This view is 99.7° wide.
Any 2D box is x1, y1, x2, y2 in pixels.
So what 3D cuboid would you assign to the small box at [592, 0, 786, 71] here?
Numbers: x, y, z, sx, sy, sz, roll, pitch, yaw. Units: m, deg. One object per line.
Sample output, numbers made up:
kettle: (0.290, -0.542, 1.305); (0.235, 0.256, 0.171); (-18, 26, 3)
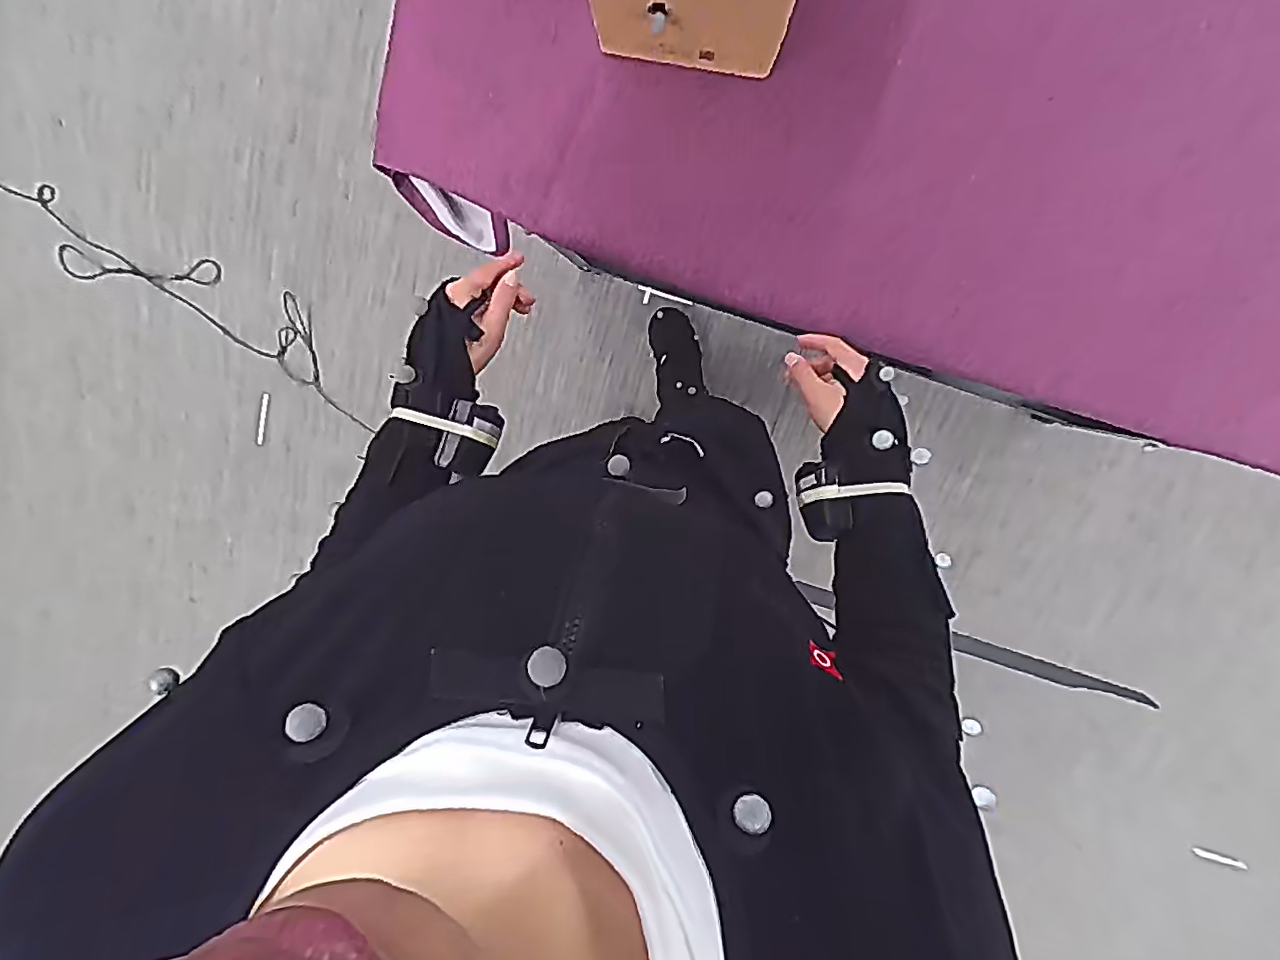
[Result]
small box: (0.050, -0.468, 0.431); (0.168, 0.176, 0.179); (10, 105, 1)
